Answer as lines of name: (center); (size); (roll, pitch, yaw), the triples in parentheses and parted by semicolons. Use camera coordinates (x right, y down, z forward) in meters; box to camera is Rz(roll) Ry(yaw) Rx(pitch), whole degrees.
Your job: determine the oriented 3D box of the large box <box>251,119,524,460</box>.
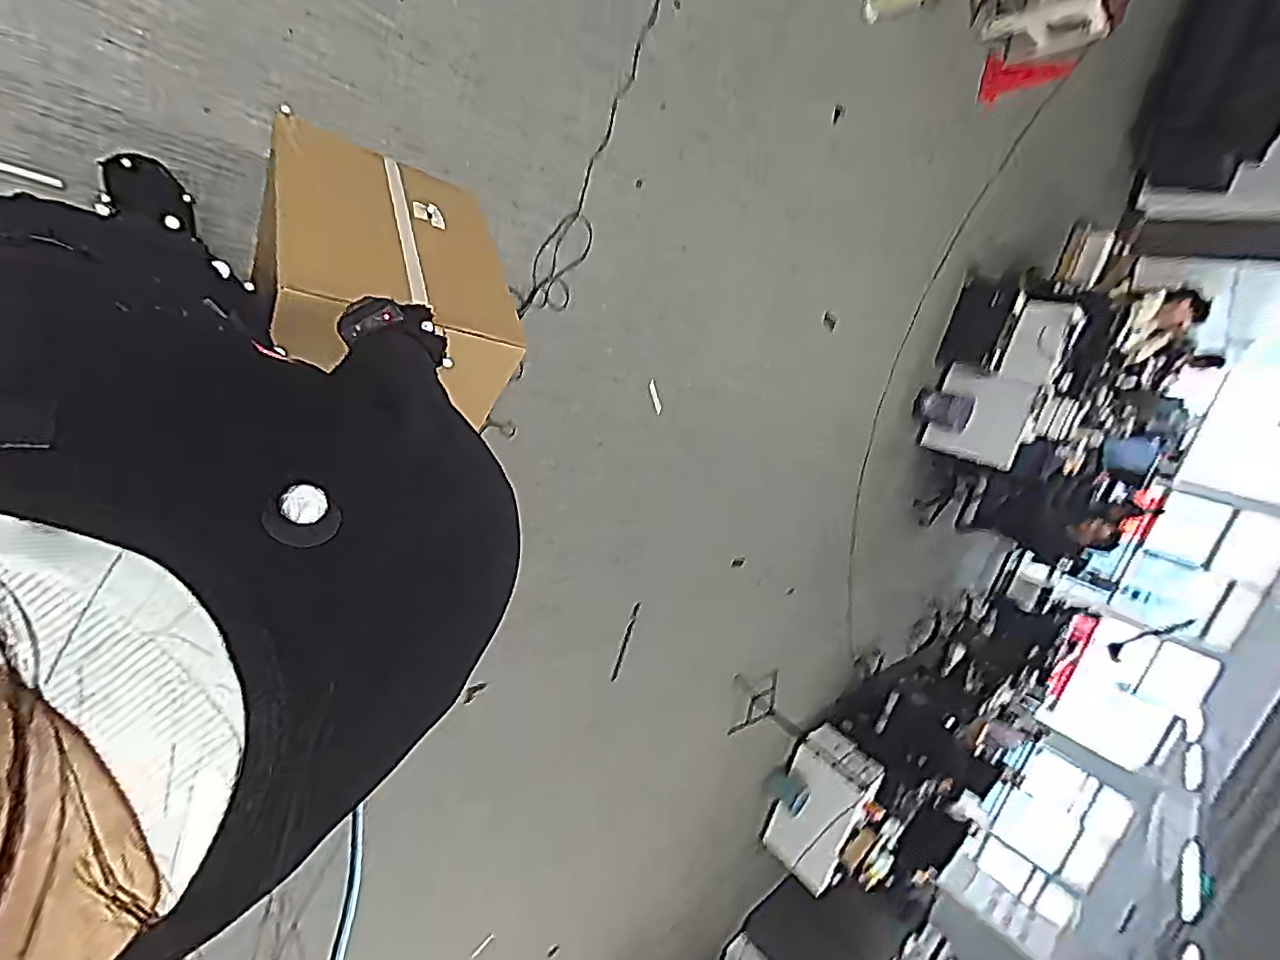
large box: (-0.441, -0.282, 0.897); (0.320, 0.408, 0.320); (5, 141, -41)
